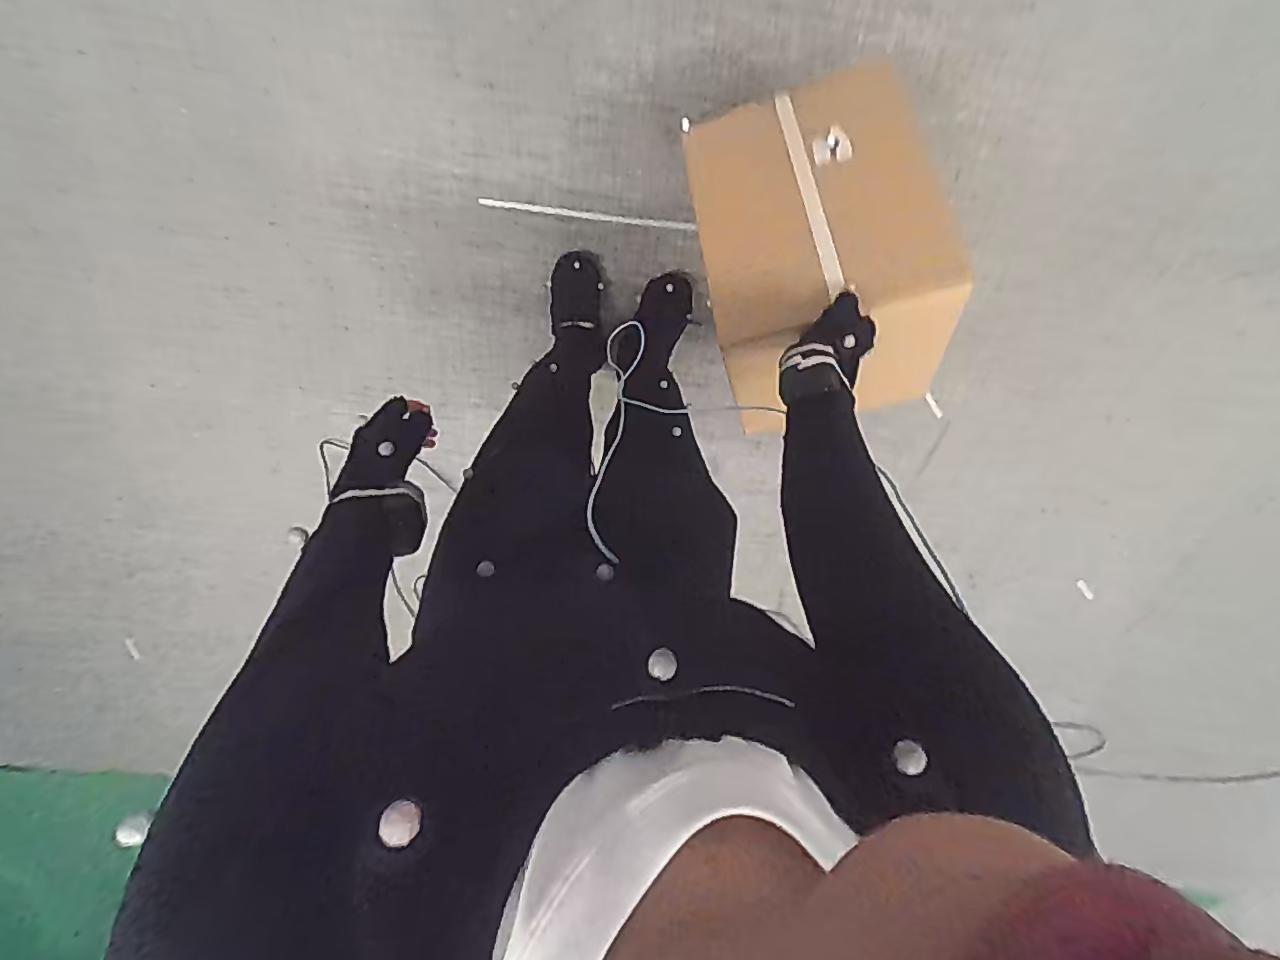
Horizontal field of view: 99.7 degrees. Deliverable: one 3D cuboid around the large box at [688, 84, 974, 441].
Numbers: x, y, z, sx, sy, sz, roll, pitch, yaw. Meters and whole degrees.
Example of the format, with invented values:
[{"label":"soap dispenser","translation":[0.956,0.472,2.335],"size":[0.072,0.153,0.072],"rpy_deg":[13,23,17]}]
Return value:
[{"label":"large box","translation":[0.287,-0.329,0.901],"size":[0.320,0.408,0.320],"rpy_deg":[-11,159,12]}]
